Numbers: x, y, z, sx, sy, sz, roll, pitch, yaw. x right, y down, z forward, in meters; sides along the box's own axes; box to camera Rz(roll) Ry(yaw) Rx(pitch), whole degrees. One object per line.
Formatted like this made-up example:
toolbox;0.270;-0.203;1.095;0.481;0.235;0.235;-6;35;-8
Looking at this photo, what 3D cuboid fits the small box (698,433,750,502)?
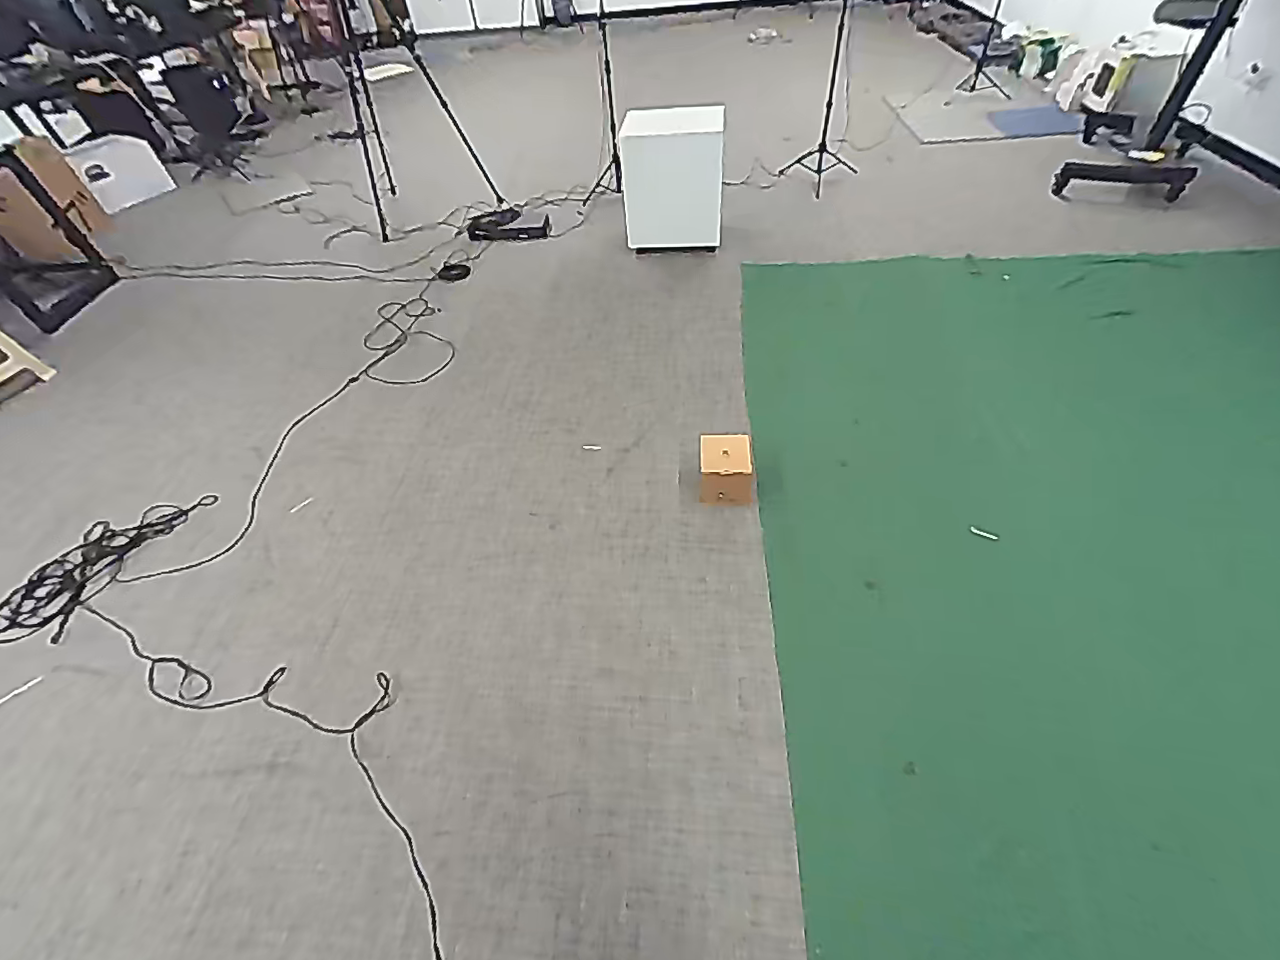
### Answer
small box;0.285;-0.043;1.868;0.168;0.176;0.179;0;49;5
